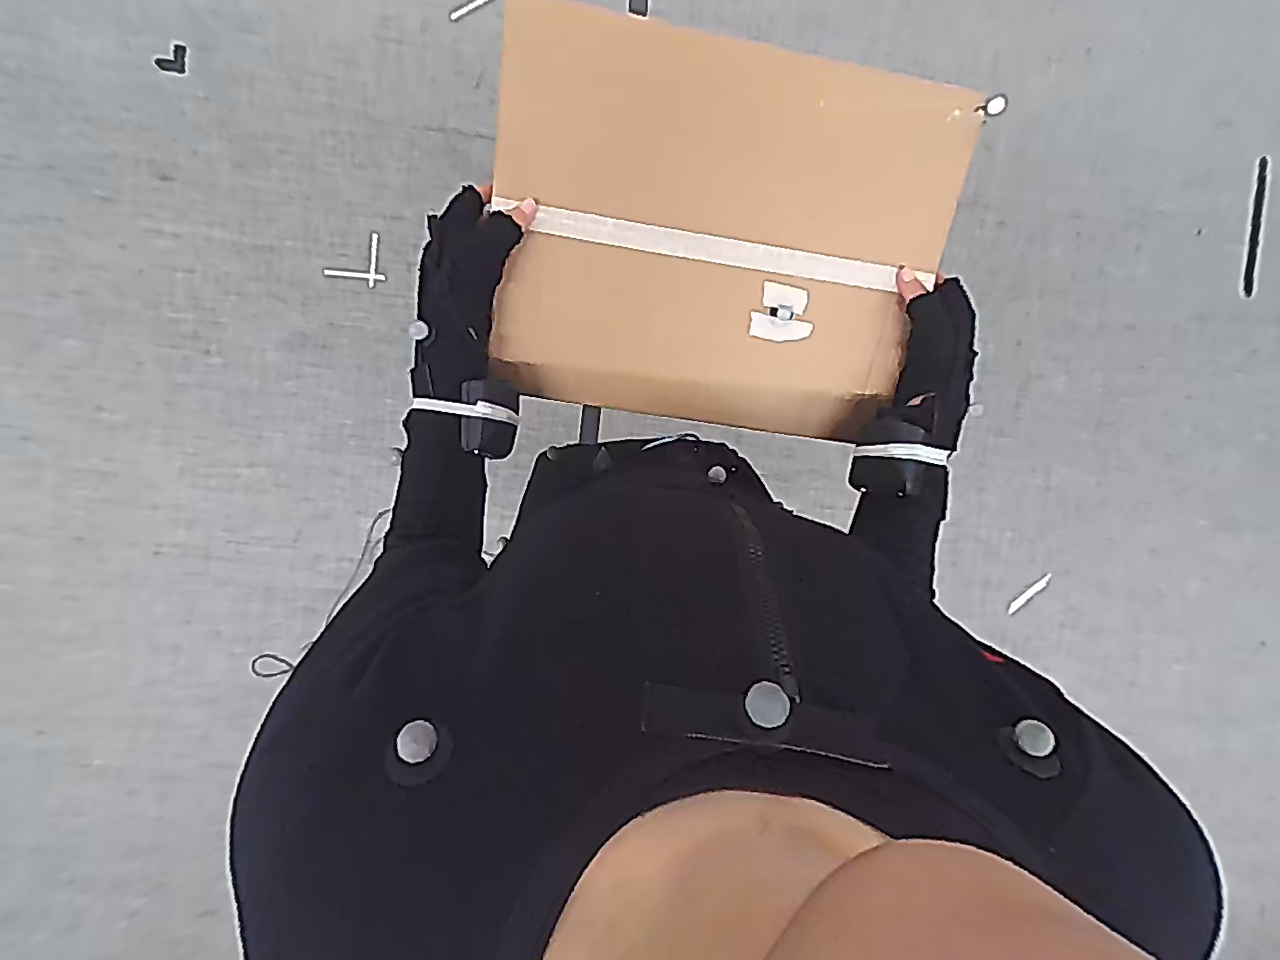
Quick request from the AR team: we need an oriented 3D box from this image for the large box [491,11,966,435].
[{"bbox_3d":[0.061,-0.260,0.641,0.408,0.320,0.320,8,109,-6],"label":"large box"}]
